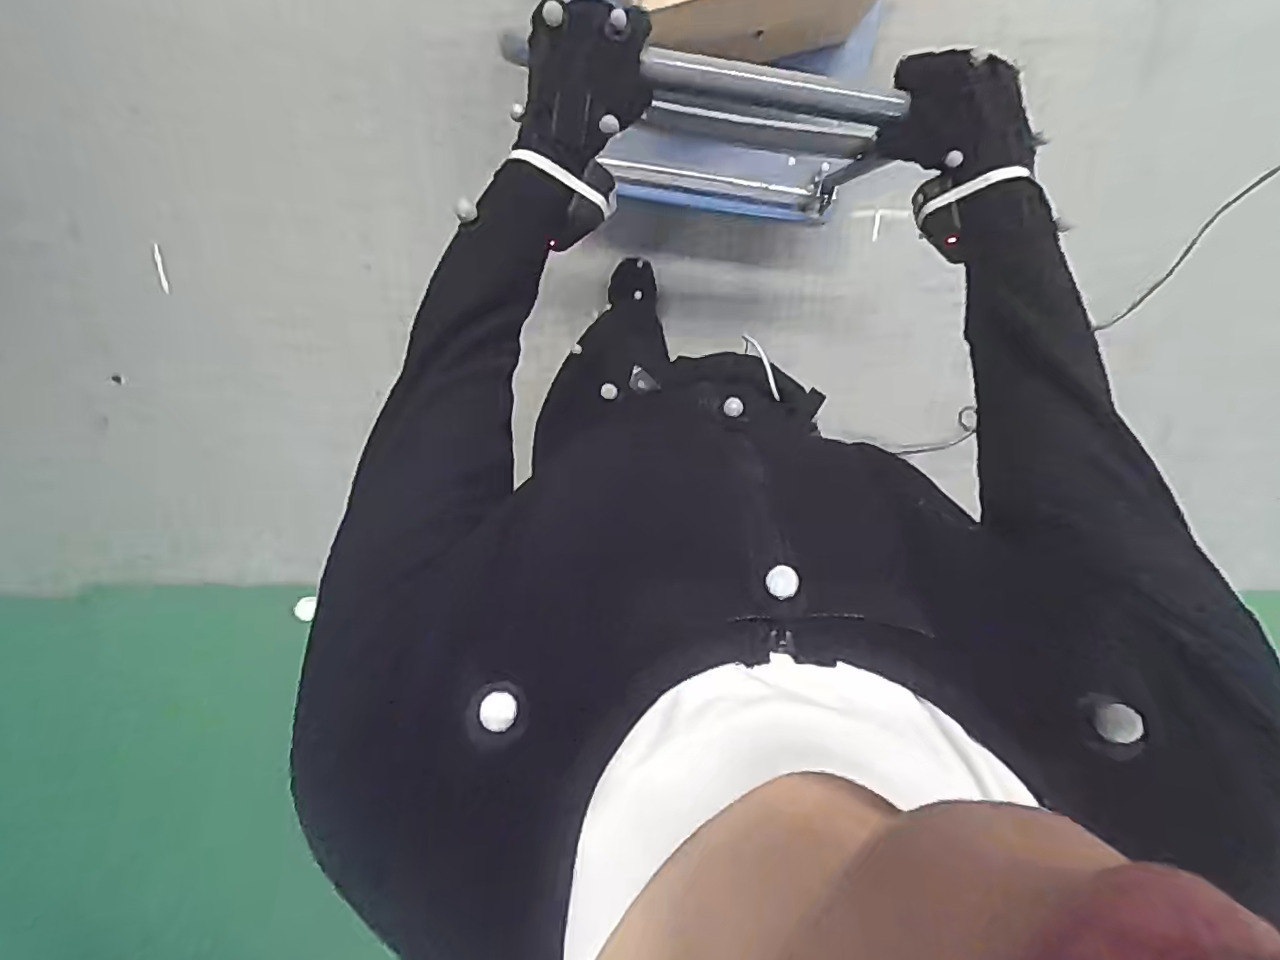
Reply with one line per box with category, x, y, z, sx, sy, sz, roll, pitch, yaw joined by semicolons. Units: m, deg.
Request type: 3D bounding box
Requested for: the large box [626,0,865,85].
large box;0.163;-0.903;0.853;0.408;0.320;0.320;-12;106;5
